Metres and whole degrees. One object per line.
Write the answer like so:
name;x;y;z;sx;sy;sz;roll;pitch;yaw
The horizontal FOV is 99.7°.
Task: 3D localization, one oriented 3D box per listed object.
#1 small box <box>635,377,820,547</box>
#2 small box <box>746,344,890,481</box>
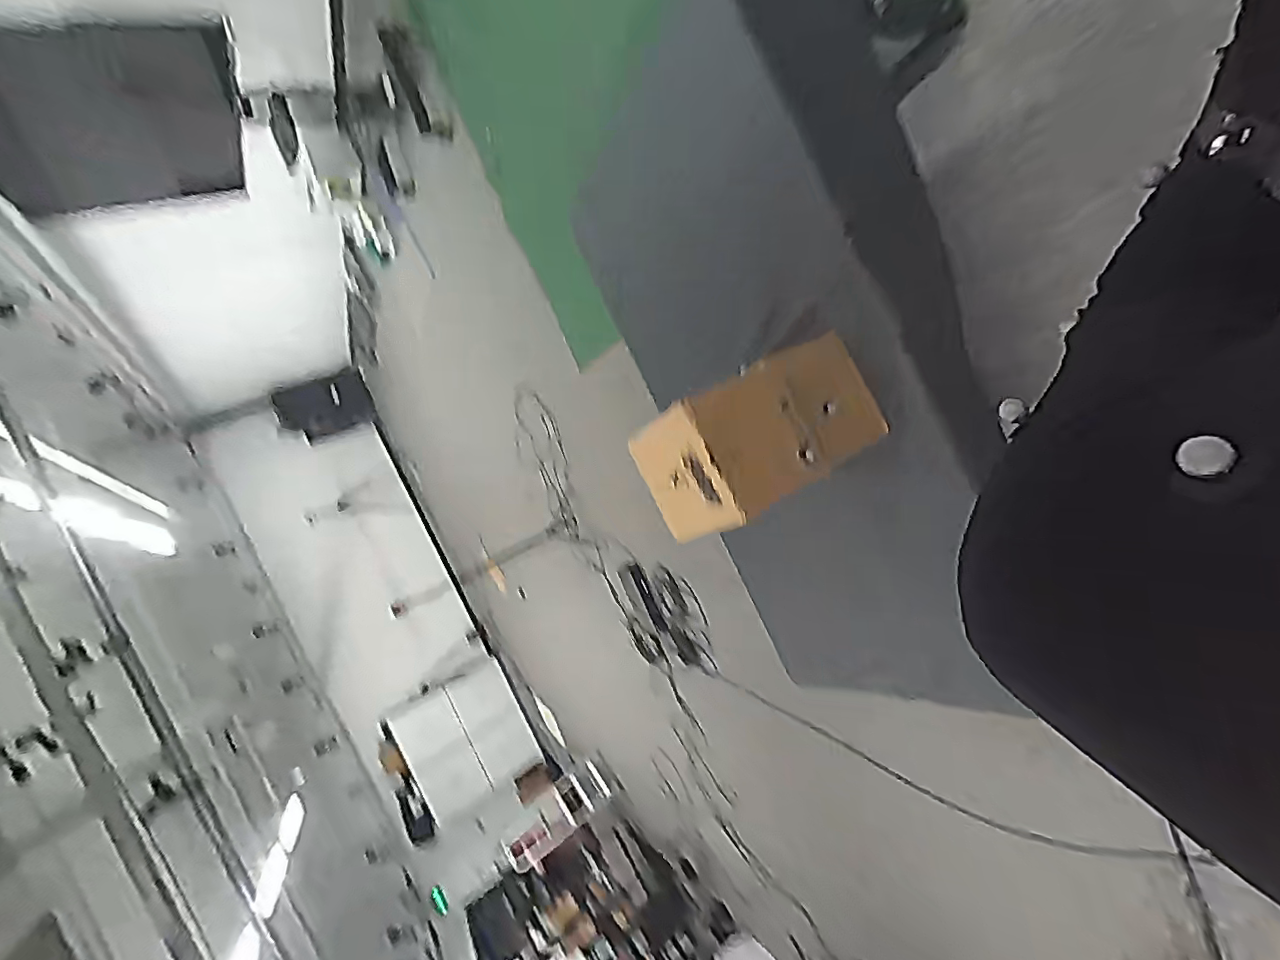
small box;0.127;-0.025;0.768;0.168;0.176;0.179;63;152;3
small box;0.253;-0.088;0.858;0.179;0.176;0.168;62;153;7
